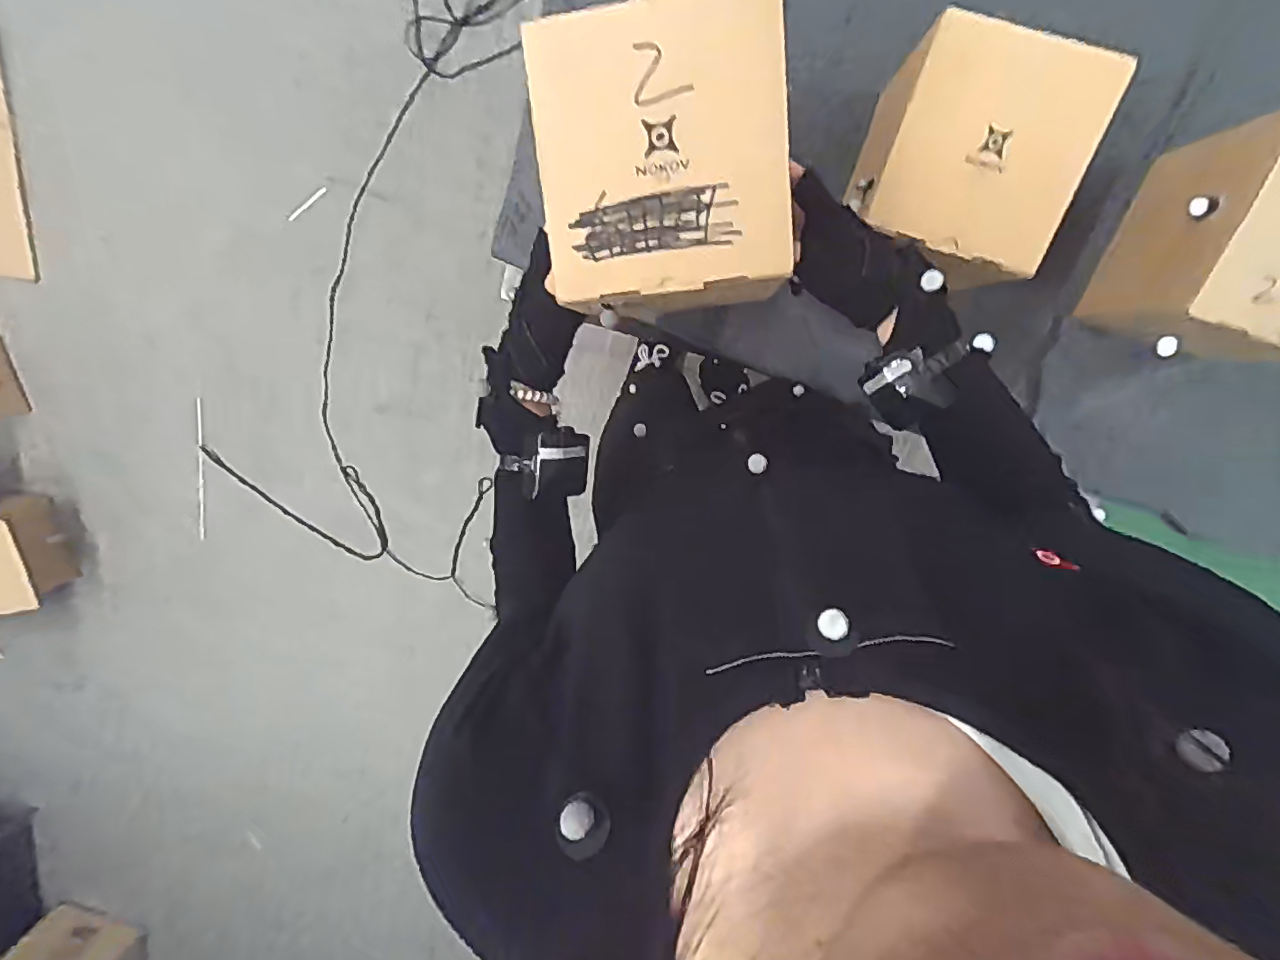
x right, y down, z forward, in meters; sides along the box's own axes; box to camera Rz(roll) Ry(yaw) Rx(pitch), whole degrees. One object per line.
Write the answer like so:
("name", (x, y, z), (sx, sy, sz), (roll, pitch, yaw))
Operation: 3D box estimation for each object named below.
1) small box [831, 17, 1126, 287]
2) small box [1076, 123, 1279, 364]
("small box", (0.317, -0.311, 0.555), (0.168, 0.176, 0.179), (17, 108, 1))
("small box", (0.603, -0.227, 0.545), (0.168, 0.176, 0.179), (18, 108, 1))
